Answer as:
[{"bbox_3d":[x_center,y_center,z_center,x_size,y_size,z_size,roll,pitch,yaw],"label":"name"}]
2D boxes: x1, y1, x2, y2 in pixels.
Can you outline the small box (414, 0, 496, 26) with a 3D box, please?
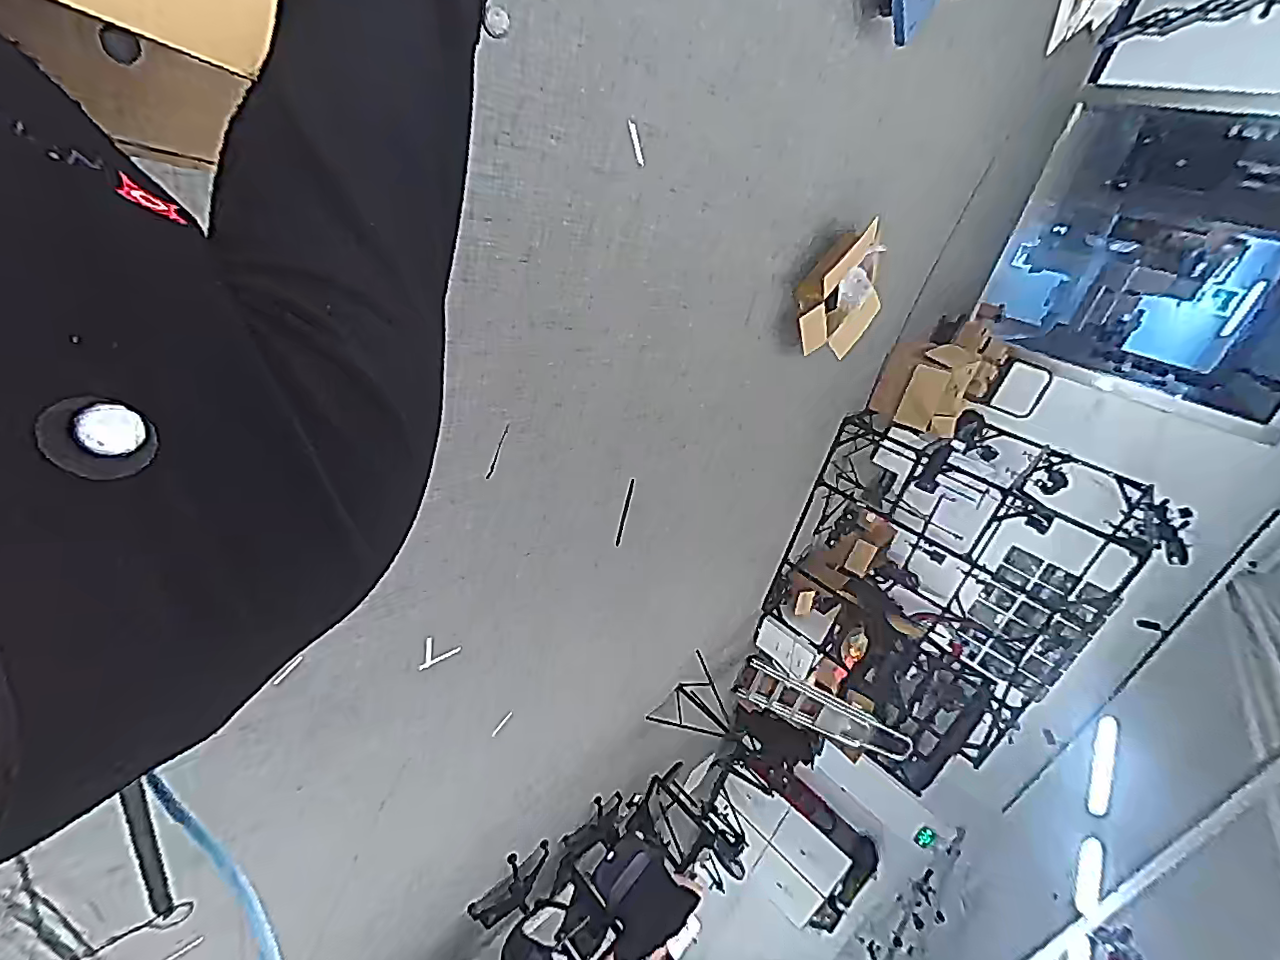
[{"bbox_3d":[-0.119,-0.325,0.194,0.168,0.176,0.179,-50,155,17],"label":"small box"}]
